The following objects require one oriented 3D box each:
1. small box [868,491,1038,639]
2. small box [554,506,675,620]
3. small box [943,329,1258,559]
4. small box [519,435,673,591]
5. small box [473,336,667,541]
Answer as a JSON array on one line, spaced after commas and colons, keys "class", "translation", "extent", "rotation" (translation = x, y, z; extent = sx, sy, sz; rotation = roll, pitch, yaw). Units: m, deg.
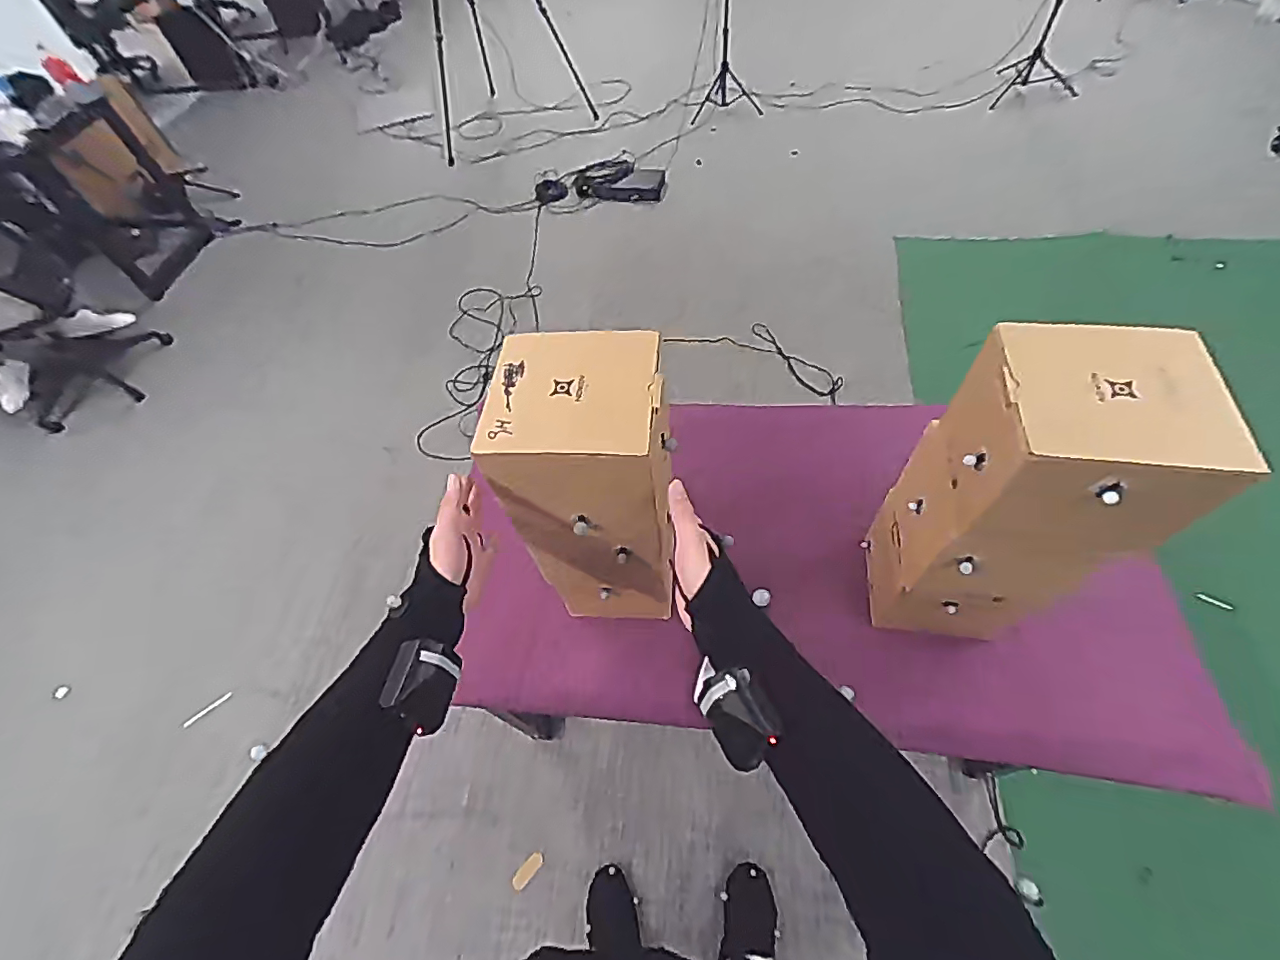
[{"class": "small box", "translation": [0.461, 0.135, 0.834], "extent": [0.179, 0.176, 0.168], "rotation": [5, 57, 9]}, {"class": "small box", "translation": [-0.033, 0.125, 0.897], "extent": [0.179, 0.176, 0.168], "rotation": [0, 57, 7]}, {"class": "small box", "translation": [0.432, -0.032, 0.554], "extent": [0.179, 0.176, 0.168], "rotation": [6, 58, 10]}, {"class": "small box", "translation": [-0.047, 0.046, 0.751], "extent": [0.179, 0.176, 0.168], "rotation": [2, 56, 7]}, {"class": "small box", "translation": [-0.061, -0.042, 0.613], "extent": [0.179, 0.176, 0.168], "rotation": [2, 55, 6]}]
